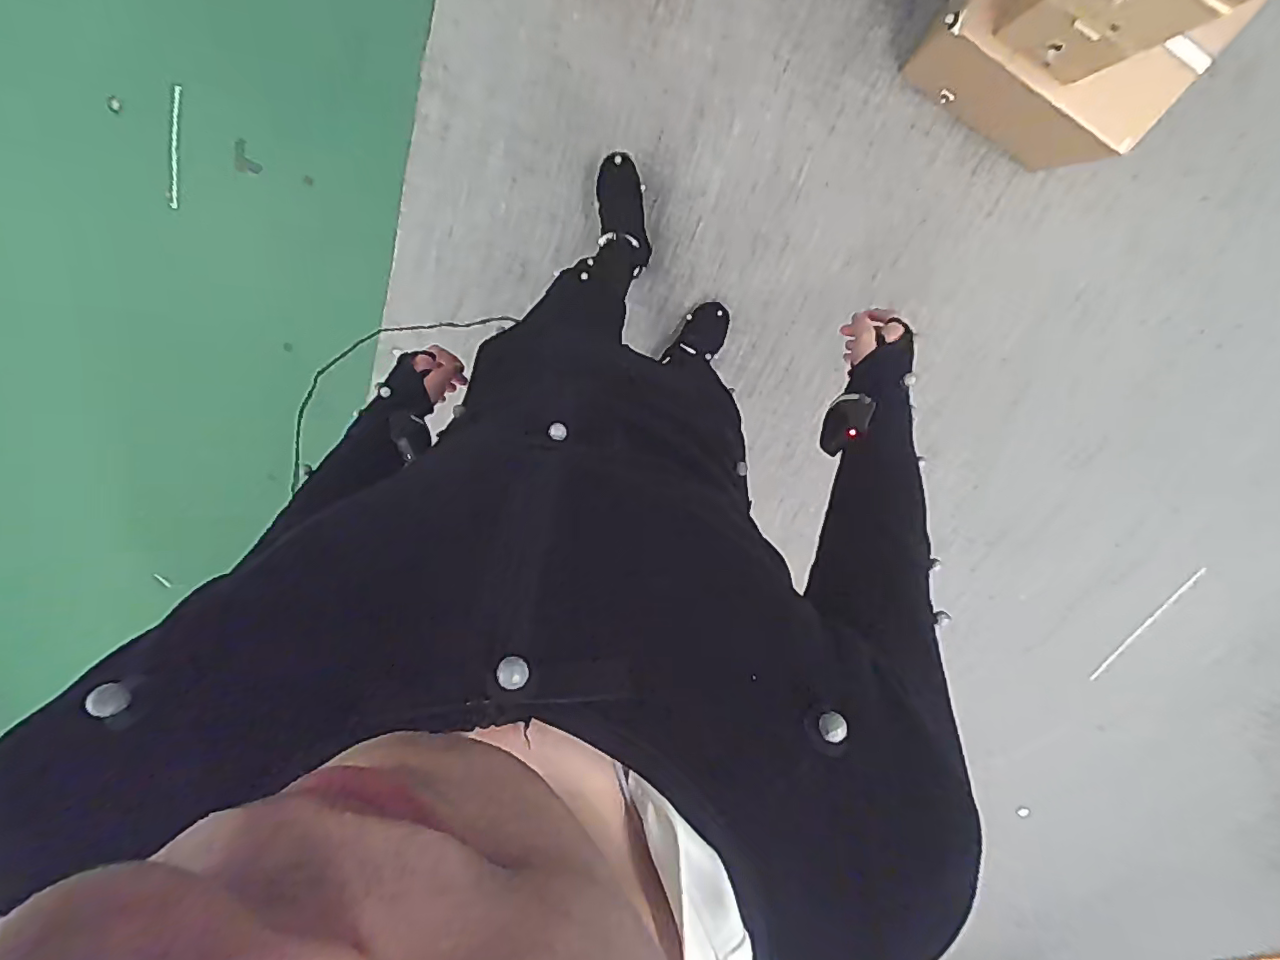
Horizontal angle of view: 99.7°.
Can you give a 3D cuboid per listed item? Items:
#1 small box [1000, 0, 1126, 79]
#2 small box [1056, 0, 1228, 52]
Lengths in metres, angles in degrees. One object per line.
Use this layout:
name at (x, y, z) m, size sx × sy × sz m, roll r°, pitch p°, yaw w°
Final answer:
small box at (0.706, -0.772, 0.841) m, size 0.168 × 0.176 × 0.179 m, roll 29°, pitch 115°, yaw -5°
small box at (0.687, -0.704, 0.694) m, size 0.168 × 0.176 × 0.179 m, roll 28°, pitch 114°, yaw -4°
